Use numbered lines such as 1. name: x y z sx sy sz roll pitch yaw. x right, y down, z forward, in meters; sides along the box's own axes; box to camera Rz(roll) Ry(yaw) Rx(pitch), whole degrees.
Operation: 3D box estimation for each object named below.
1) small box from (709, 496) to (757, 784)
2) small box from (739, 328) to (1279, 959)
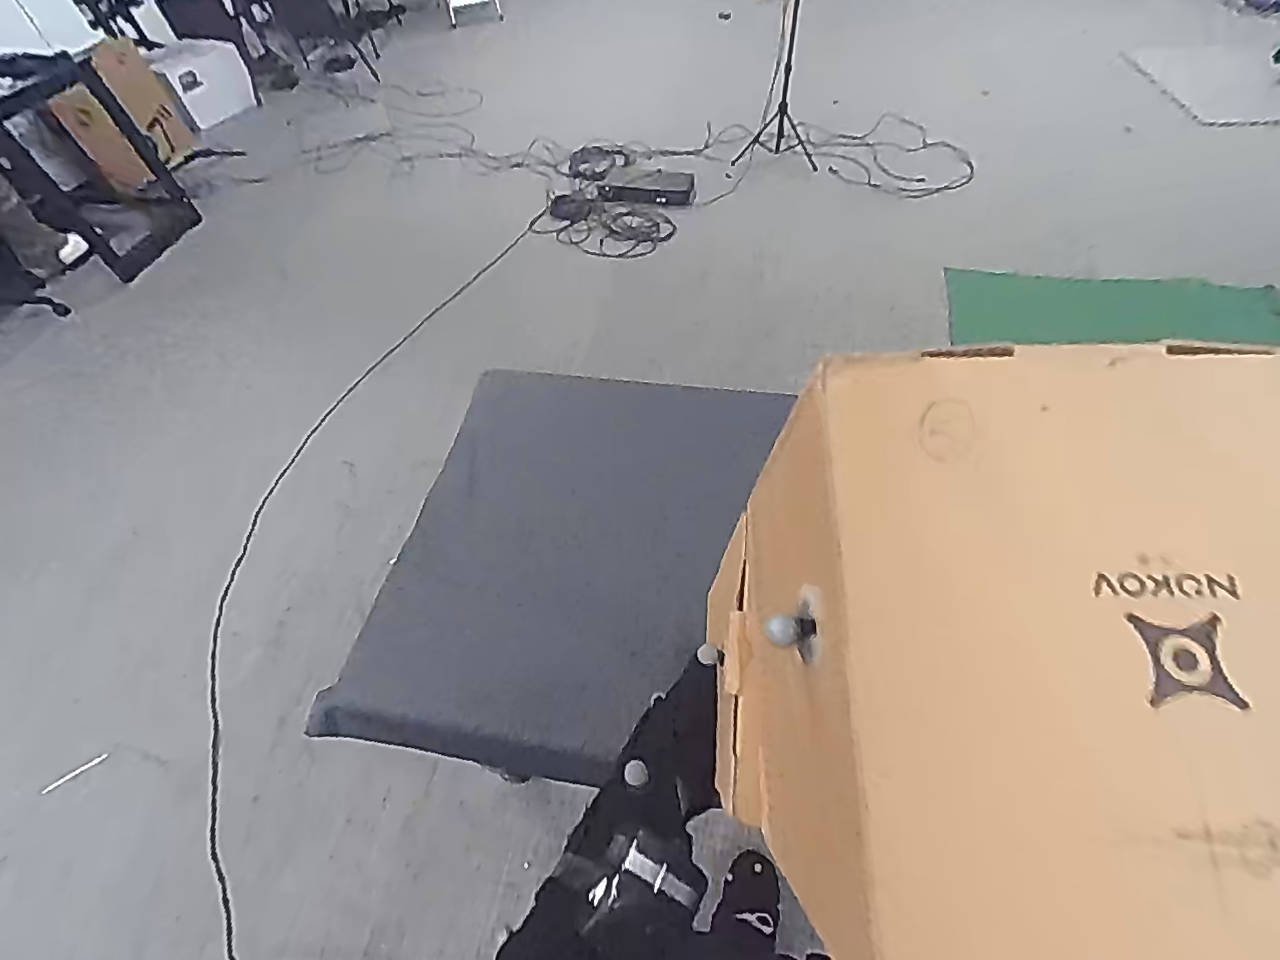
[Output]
1. small box: 0.141 0.119 0.379 0.179 0.176 0.168 3 68 4
2. small box: 0.134 0.059 0.225 0.168 0.176 0.179 0 71 4
